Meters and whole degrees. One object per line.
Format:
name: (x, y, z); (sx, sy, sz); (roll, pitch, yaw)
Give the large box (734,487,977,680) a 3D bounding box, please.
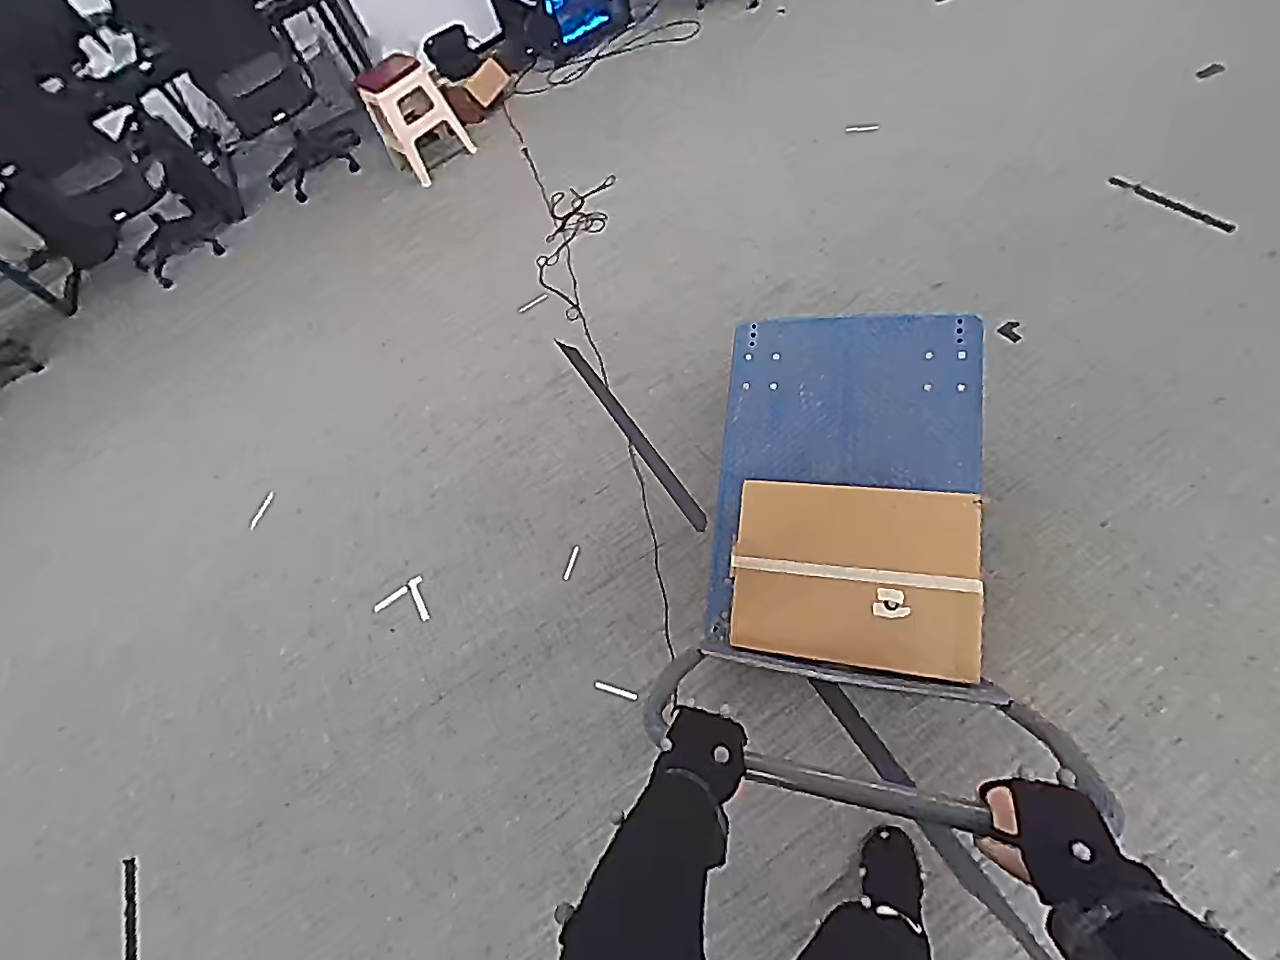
large box: (0.417, 0.203, 1.108); (0.408, 0.320, 0.320); (3, 80, 17)
